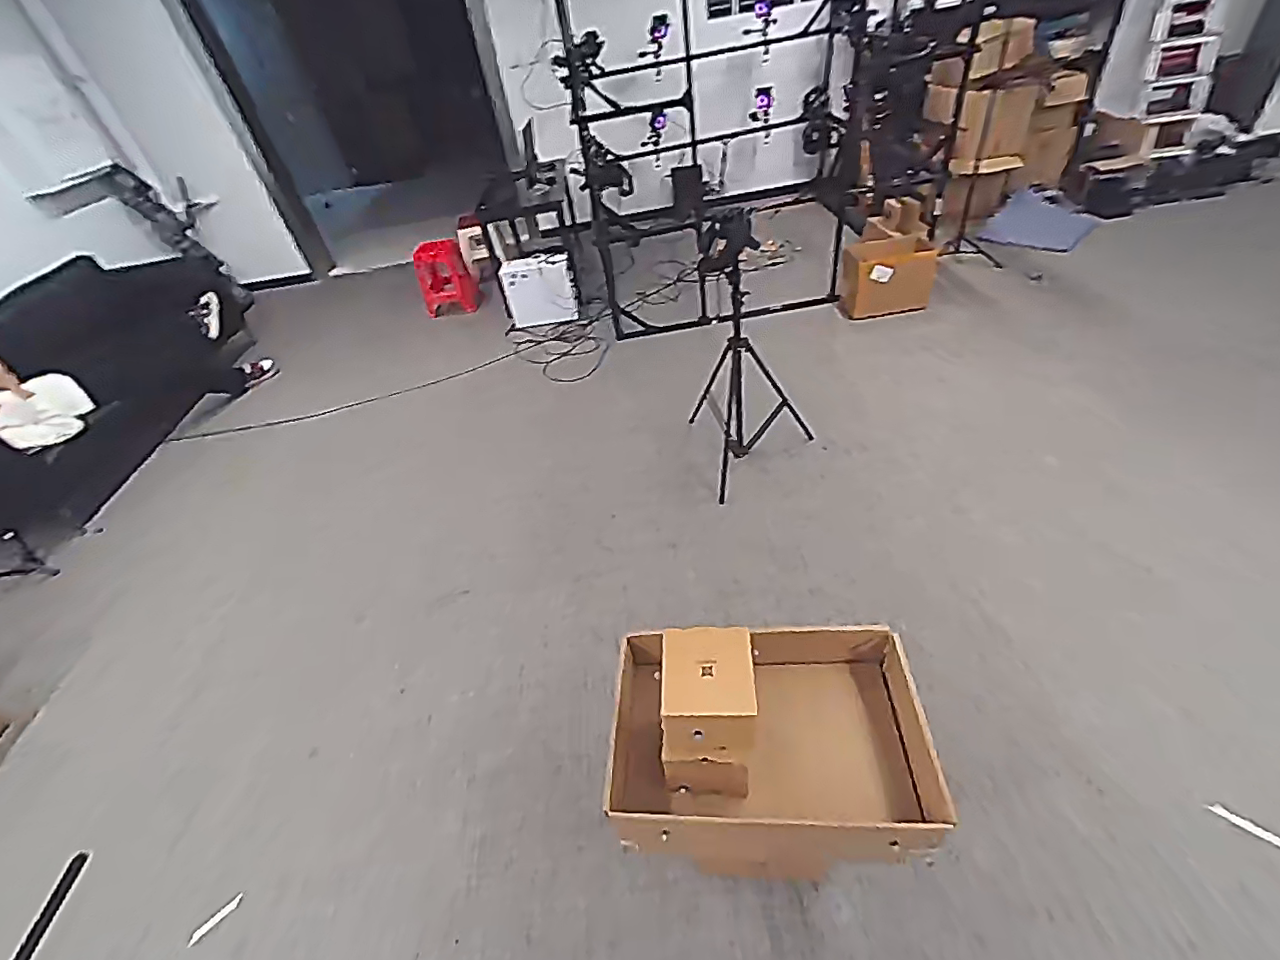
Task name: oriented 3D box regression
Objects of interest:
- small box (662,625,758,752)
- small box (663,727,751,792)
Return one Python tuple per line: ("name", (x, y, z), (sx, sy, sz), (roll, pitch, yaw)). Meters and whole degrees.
("small box", (0.135, 0.399, 1.030), (0.168, 0.176, 0.179), (-3, 40, 7))
("small box", (0.146, 0.528, 1.129), (0.168, 0.176, 0.179), (-1, 41, 10))
